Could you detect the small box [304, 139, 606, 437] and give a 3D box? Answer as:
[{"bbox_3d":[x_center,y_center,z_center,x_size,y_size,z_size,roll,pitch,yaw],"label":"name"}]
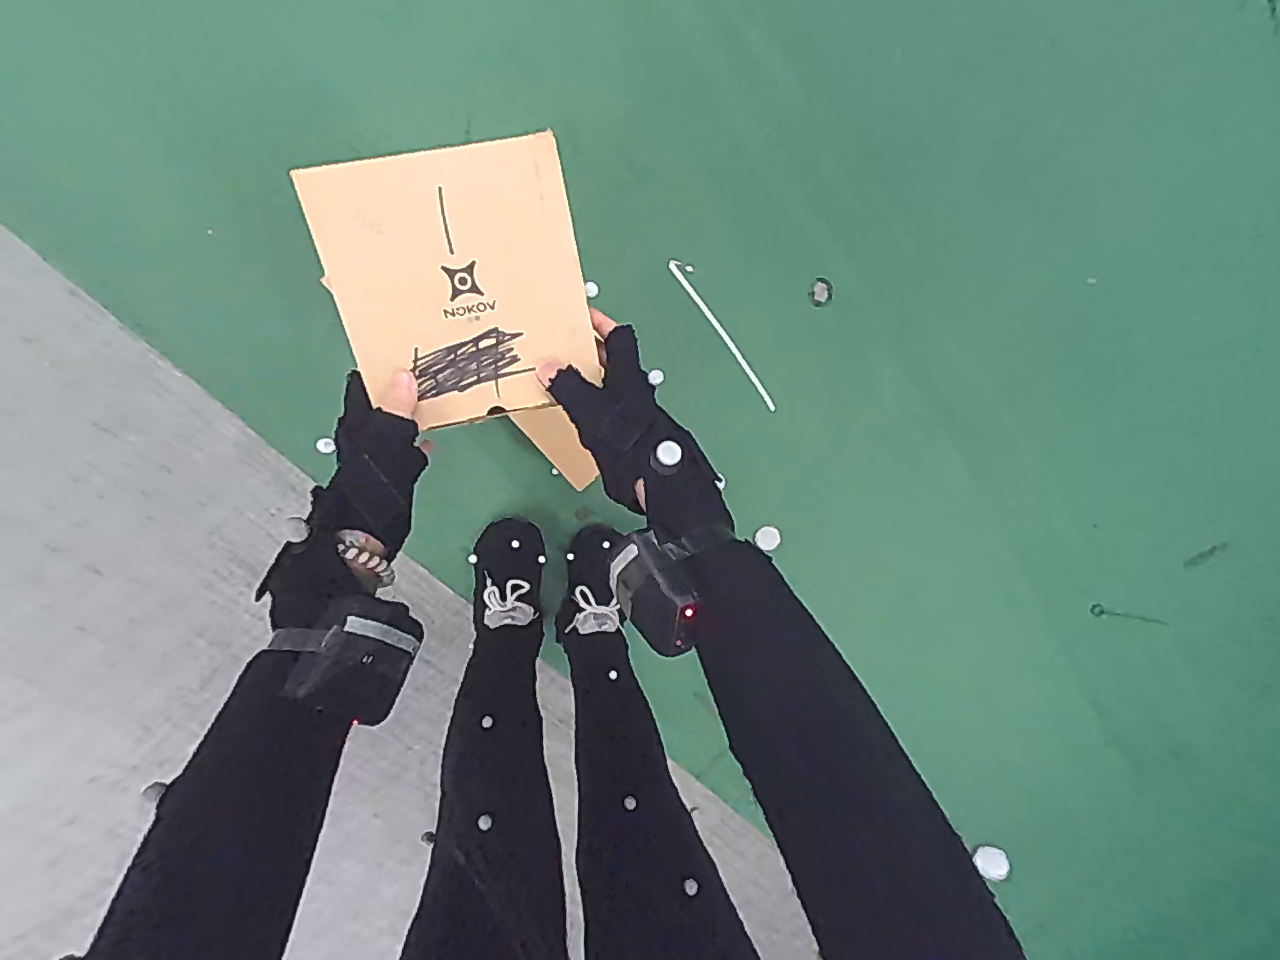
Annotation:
[{"bbox_3d":[-0.130,-0.152,0.446,0.168,0.176,0.179,-13,110,-7],"label":"small box"}]
